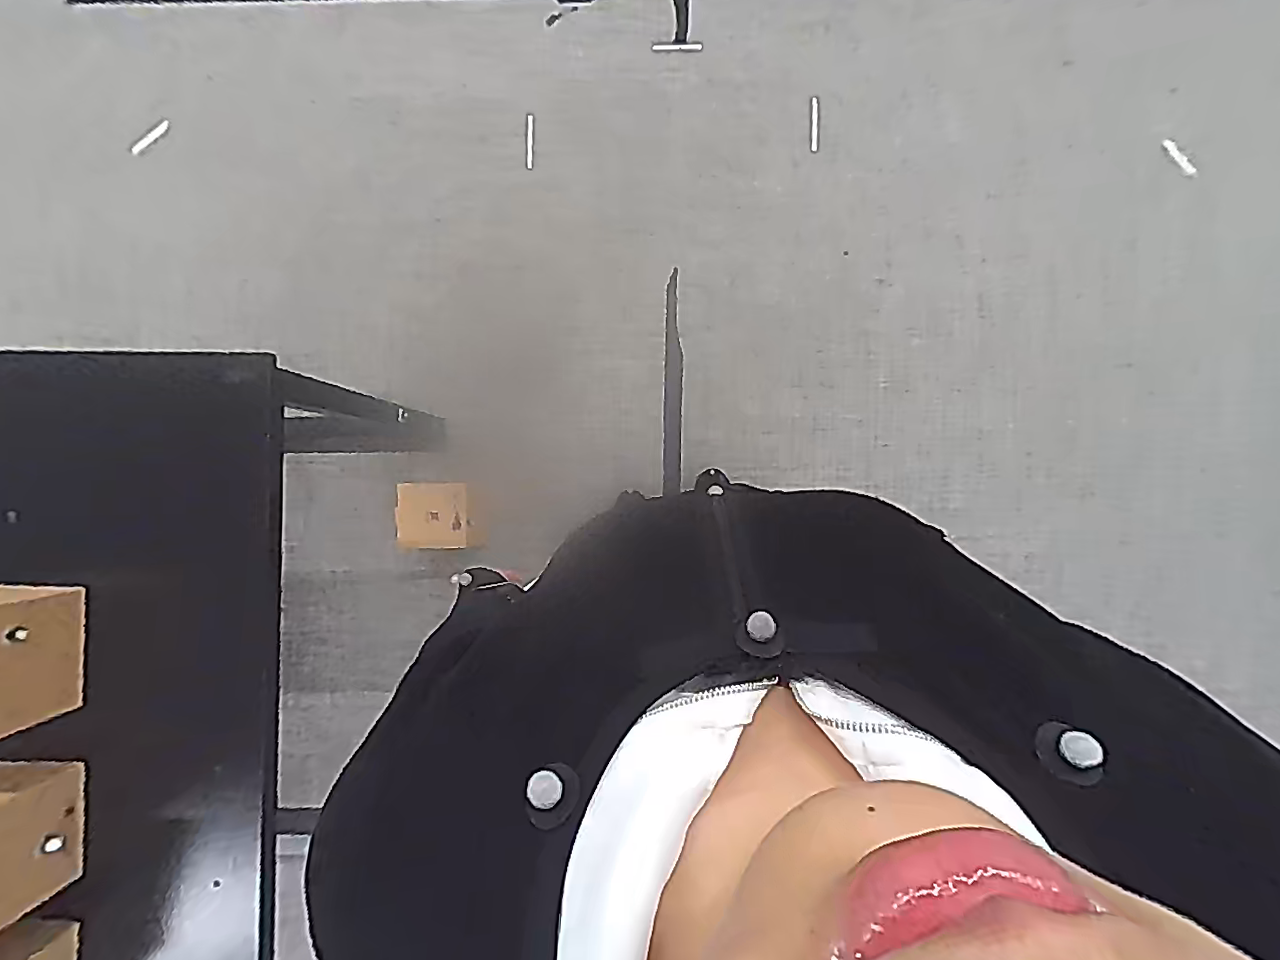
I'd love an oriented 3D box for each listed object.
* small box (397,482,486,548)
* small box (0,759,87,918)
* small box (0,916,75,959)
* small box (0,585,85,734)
[{"bbox_3d":[-0.522,0.090,1.434,0.179,0.176,0.168,0,90,1],"label":"small box"},{"bbox_3d":[-0.895,0.486,0.705,0.179,0.176,0.168,0,89,0],"label":"small box"},{"bbox_3d":[-0.903,0.710,0.701,0.179,0.176,0.168,4,88,1],"label":"small box"},{"bbox_3d":[-0.892,0.237,0.711,0.168,0.176,0.179,1,90,2],"label":"small box"}]
